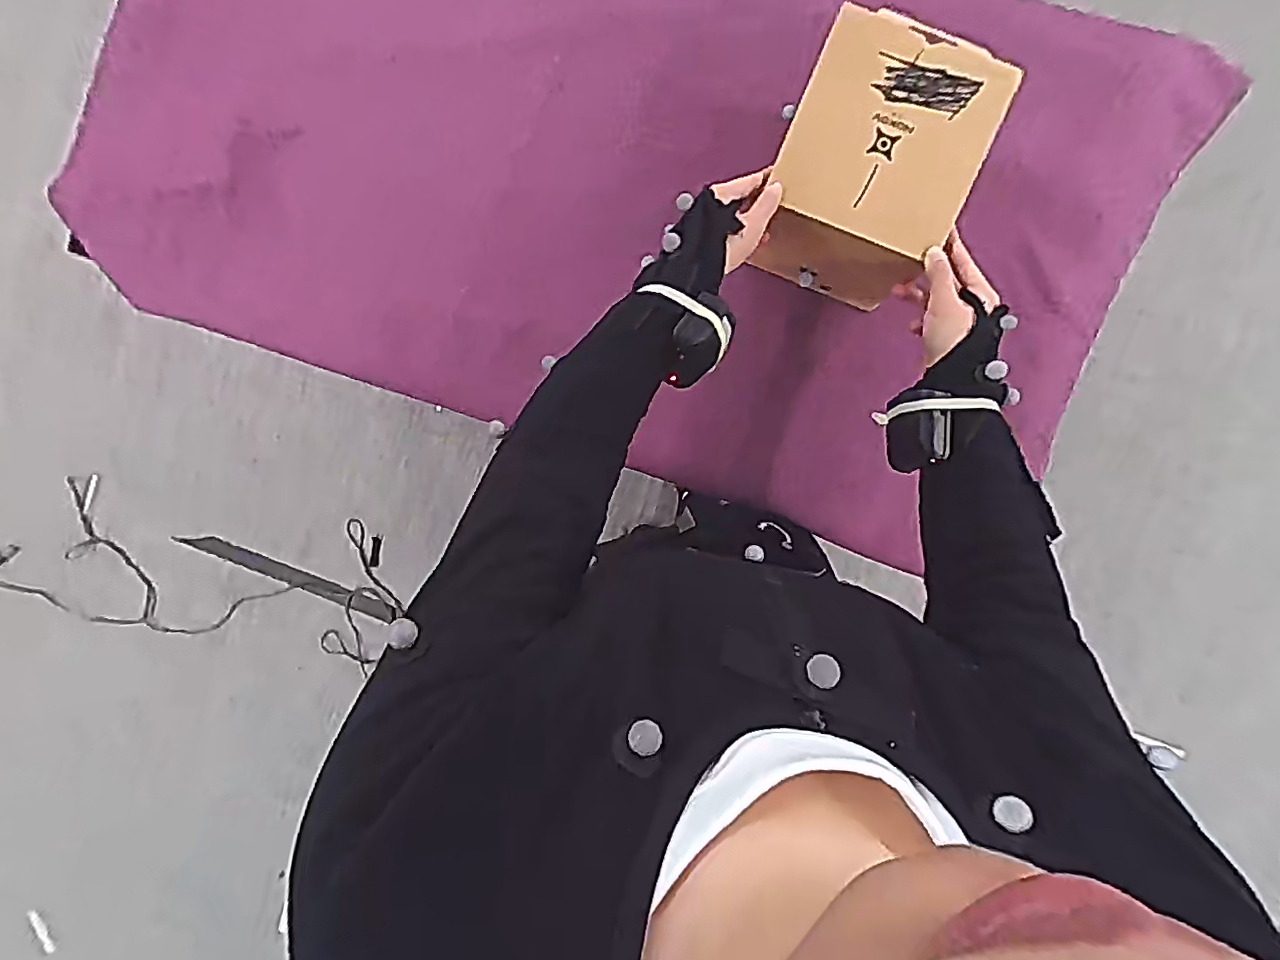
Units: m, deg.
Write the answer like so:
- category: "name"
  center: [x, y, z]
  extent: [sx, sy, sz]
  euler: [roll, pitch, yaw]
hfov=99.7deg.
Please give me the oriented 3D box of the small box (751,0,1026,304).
- category: "small box"
  center: [0.223, -0.304, 0.542]
  extent: [0.168, 0.176, 0.179]
  euler: [23, 96, 3]
